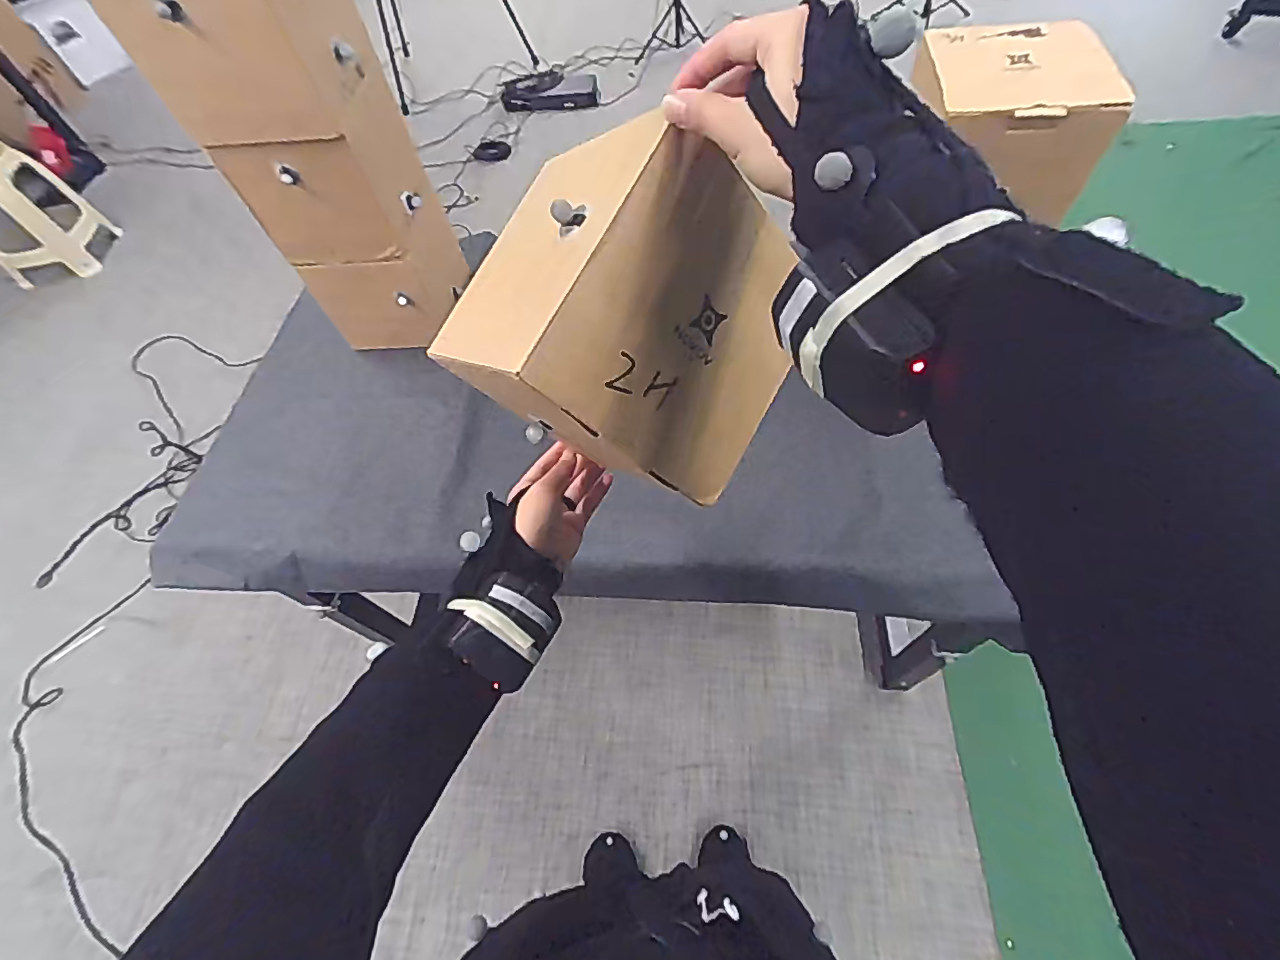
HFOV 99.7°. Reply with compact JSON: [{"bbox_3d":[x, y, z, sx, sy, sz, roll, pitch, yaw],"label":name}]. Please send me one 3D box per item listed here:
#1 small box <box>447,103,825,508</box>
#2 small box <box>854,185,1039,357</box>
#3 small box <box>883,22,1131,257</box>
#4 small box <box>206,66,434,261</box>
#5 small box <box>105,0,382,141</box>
[{"bbox_3d":[-0.009,-0.111,0.385,0.176,0.168,0.179,25,82,52],"label":"small box"},{"bbox_3d":[0.409,-0.298,0.759,0.168,0.176,0.179,3,61,8],"label":"small box"},{"bbox_3d":[0.390,-0.376,0.616,0.168,0.176,0.179,4,61,8],"label":"small box"},{"bbox_3d":[-0.404,-0.412,0.719,0.179,0.176,0.168,-1,61,3],"label":"small box"},{"bbox_3d":[-0.414,-0.487,0.573,0.179,0.176,0.168,0,61,4],"label":"small box"}]
